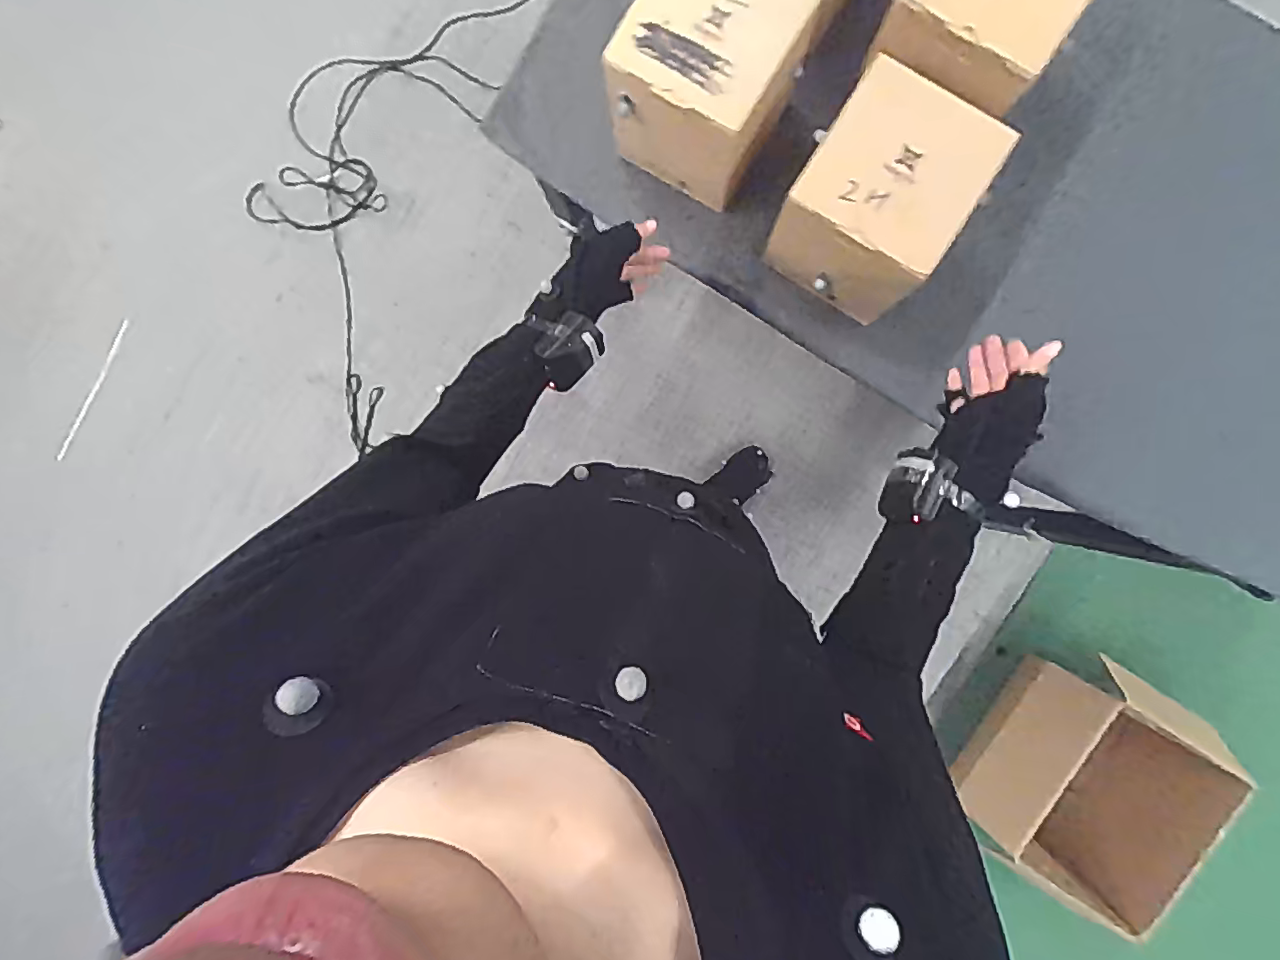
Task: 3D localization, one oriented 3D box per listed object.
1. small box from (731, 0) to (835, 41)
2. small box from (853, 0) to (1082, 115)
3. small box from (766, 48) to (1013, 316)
[{"bbox_3d":[0.187,-0.674,0.625,0.168,0.176,0.179,30,93,2],"label":"small box"},{"bbox_3d":[0.377,-0.527,0.620,0.168,0.176,0.179,33,95,2],"label":"small box"},{"bbox_3d":[0.266,-0.325,0.628,0.168,0.176,0.179,33,91,2],"label":"small box"}]
